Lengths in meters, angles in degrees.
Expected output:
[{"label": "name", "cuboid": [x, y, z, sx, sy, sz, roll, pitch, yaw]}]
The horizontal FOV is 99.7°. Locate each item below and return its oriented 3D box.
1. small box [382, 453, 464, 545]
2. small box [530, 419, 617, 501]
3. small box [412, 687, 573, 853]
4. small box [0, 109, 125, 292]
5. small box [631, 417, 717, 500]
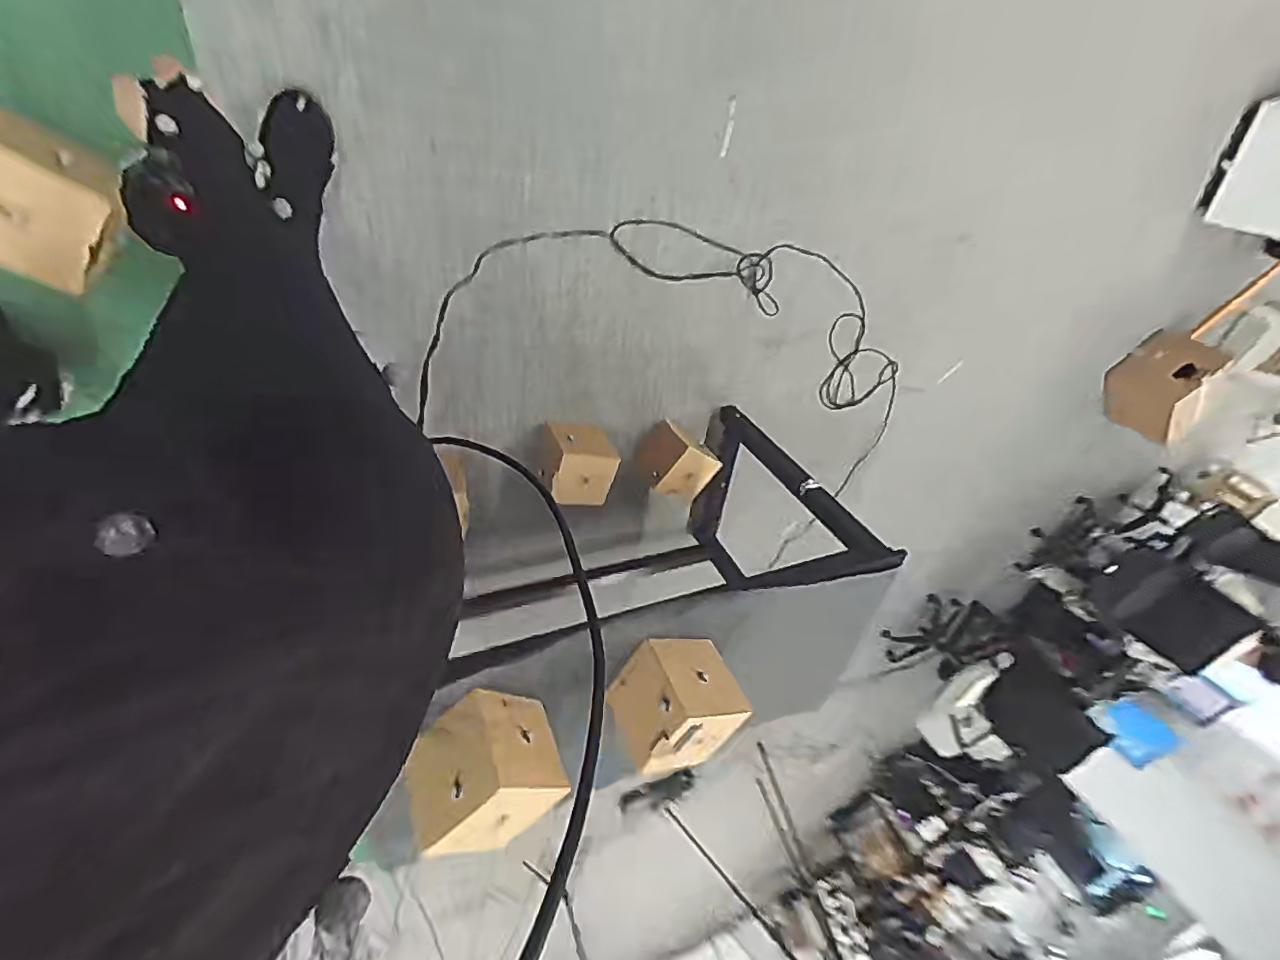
[{"label": "small box", "cuboid": [-0.561, 0.043, 1.393, 0.179, 0.176, 0.168, -5, 128, -26]}, {"label": "small box", "cuboid": [-0.195, -0.058, 1.528, 0.179, 0.176, 0.168, 1, 126, -33]}, {"label": "small box", "cuboid": [-0.247, 0.467, 0.885, 0.179, 0.176, 0.168, -42, 138, 7]}, {"label": "small box", "cuboid": [-0.911, -0.419, 0.798, 0.179, 0.176, 0.168, 25, 110, -43]}, {"label": "small box", "cuboid": [0.101, -0.070, 1.695, 0.168, 0.176, 0.179, 23, 113, -41]}]
